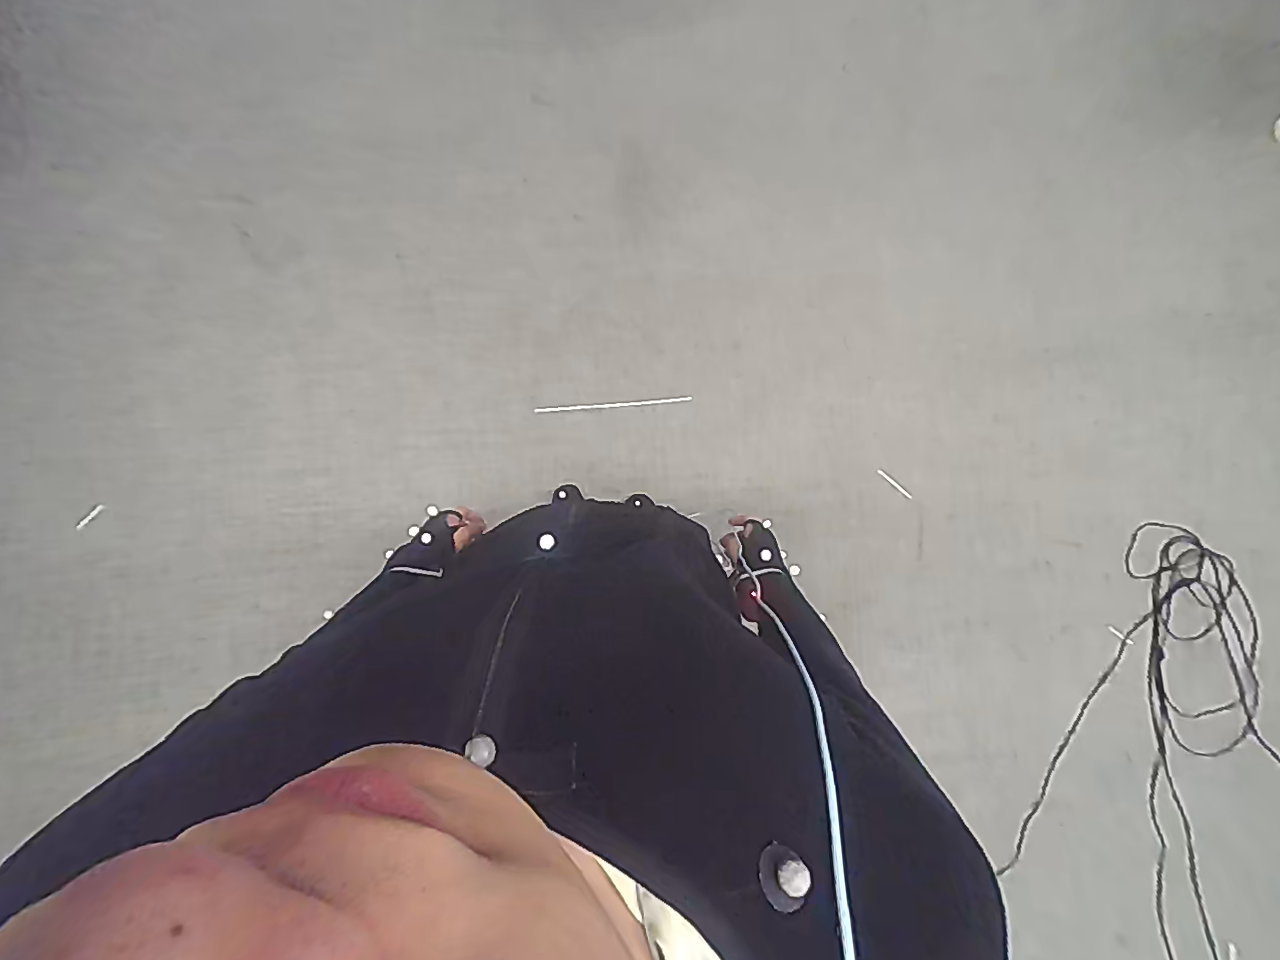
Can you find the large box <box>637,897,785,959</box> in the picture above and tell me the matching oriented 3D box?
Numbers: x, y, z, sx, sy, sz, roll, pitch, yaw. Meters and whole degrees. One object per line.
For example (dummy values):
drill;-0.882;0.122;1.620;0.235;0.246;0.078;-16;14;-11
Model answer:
large box;0.209;1.451;1.509;0.408;0.320;0.320;-6;89;-1
